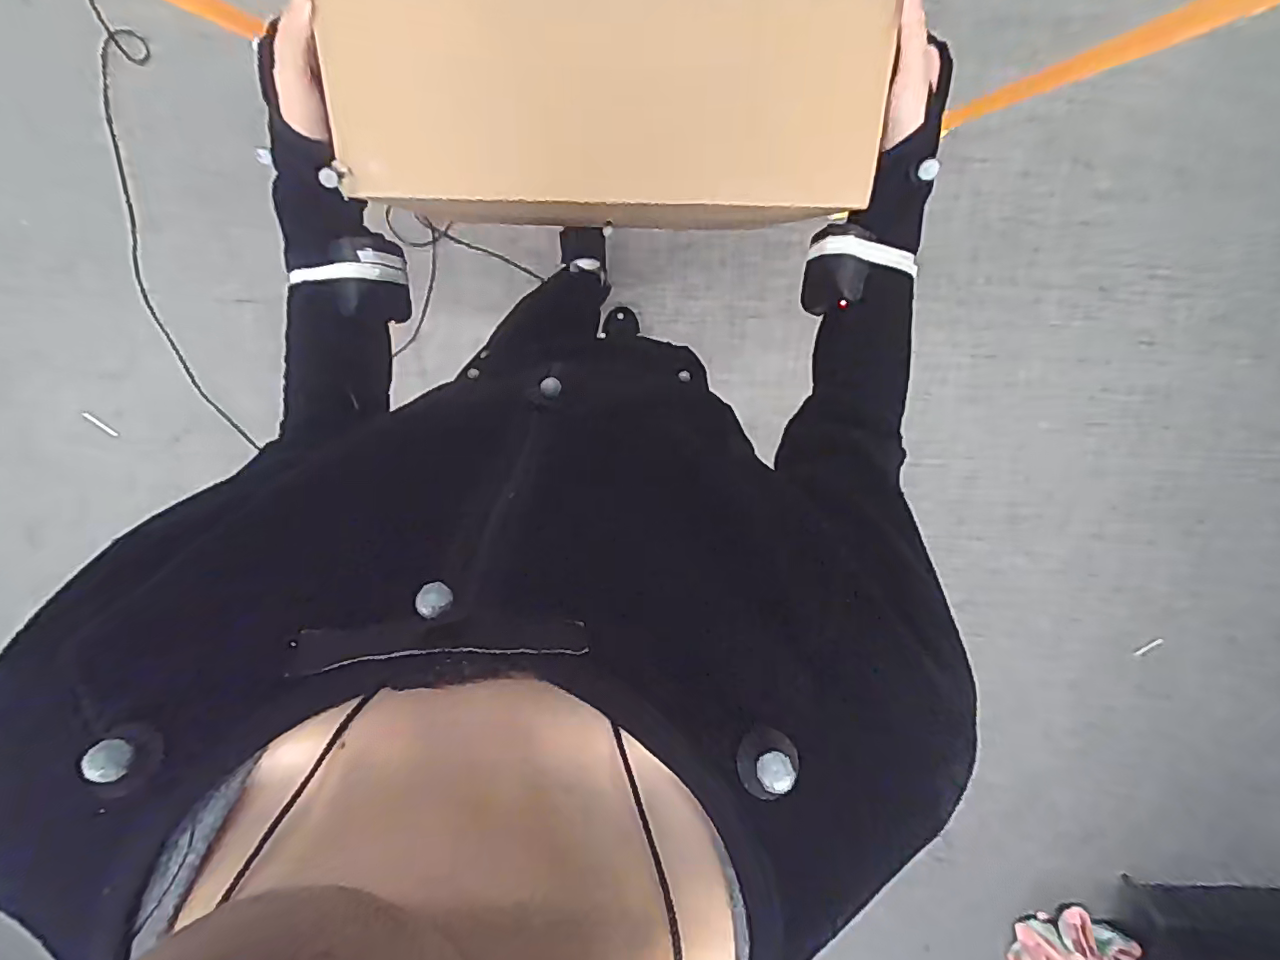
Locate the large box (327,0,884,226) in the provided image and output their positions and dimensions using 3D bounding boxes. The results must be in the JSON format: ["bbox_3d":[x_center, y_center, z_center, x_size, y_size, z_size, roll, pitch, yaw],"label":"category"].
[{"bbox_3d":[-0.028,-0.415,0.512,0.408,0.320,0.320,-1,111,-5],"label":"large box"}]
